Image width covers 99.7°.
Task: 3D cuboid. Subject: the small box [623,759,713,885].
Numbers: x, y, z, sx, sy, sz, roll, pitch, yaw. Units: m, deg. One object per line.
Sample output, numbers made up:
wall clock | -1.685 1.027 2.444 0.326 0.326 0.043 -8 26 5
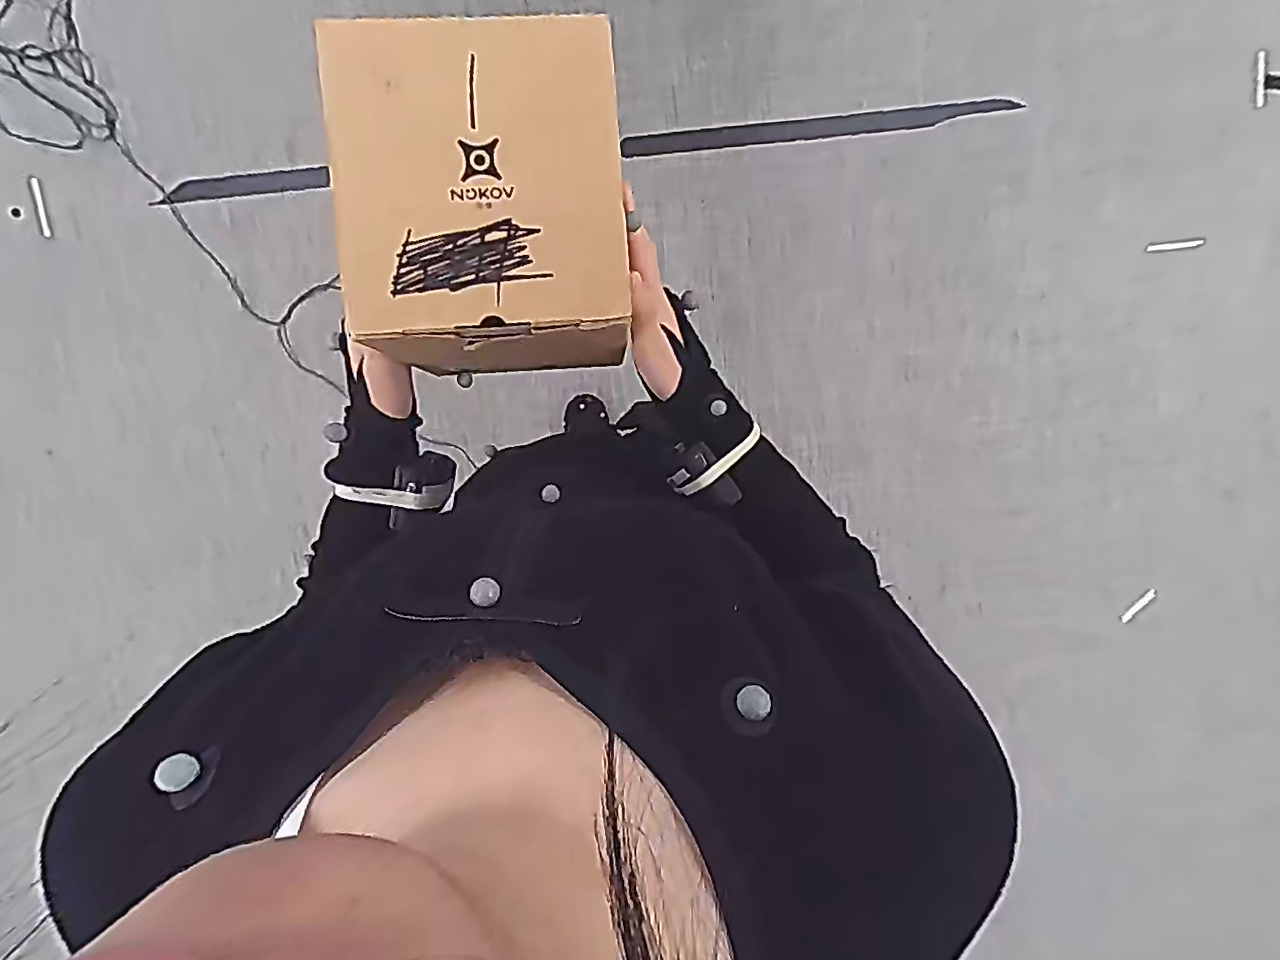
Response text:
small box | 0.058 0.754 1.211 0.179 0.176 0.168 -8 97 0

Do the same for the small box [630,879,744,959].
small box | 0.073 0.798 0.885 0.179 0.176 0.168 -4 98 -2

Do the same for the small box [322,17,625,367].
small box | -0.098 -0.180 0.392 0.168 0.176 0.179 -4 93 -4
